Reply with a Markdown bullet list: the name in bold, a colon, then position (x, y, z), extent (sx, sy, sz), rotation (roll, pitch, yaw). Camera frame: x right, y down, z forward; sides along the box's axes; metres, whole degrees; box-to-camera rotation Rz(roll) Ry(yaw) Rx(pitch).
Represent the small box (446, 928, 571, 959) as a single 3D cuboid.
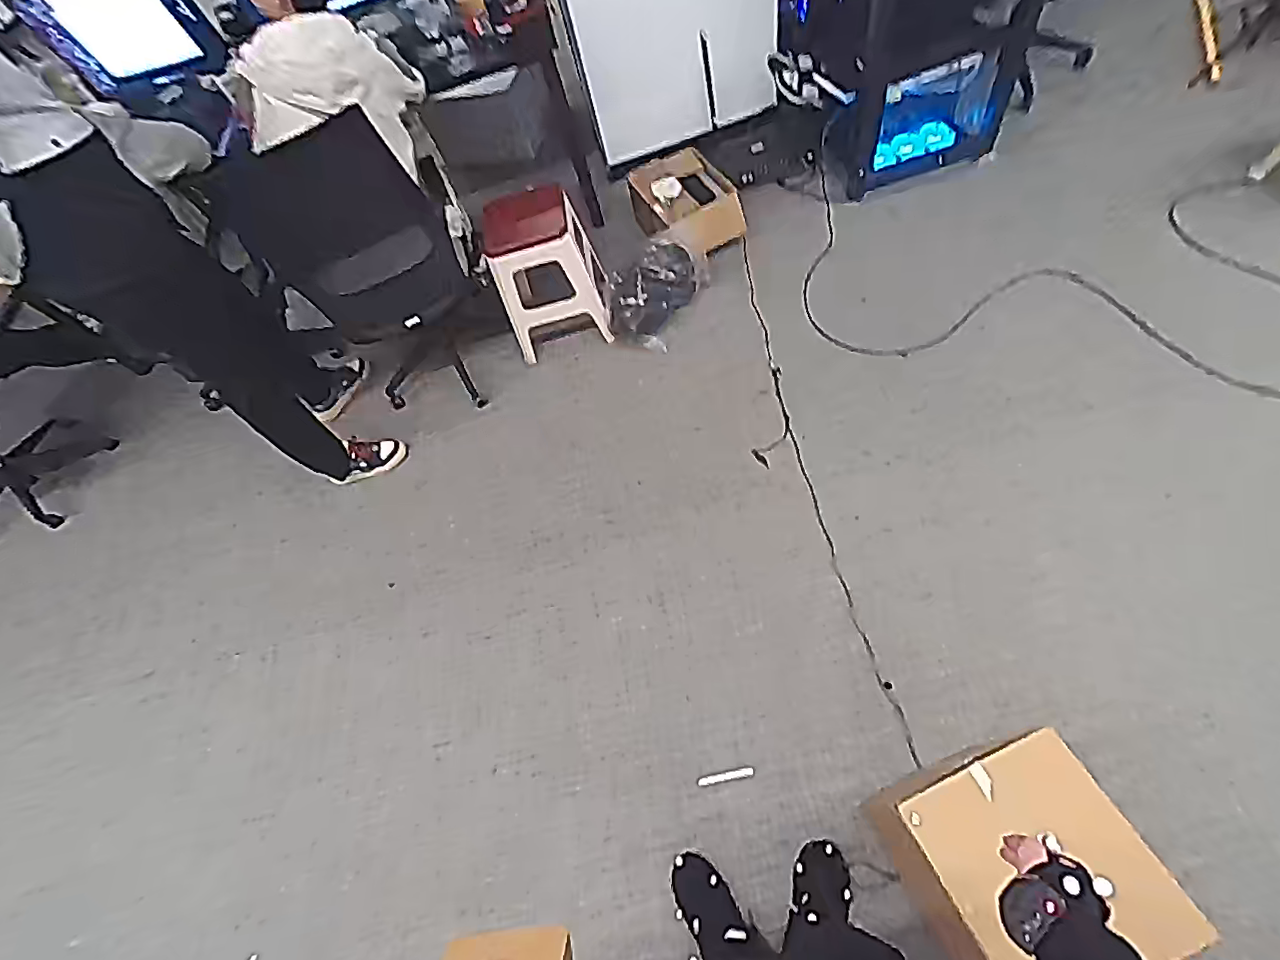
- **small box**: position (-0.170, 0.714, 0.668), extent (0.168, 0.179, 0.176), rotation (-6, 96, 2)
